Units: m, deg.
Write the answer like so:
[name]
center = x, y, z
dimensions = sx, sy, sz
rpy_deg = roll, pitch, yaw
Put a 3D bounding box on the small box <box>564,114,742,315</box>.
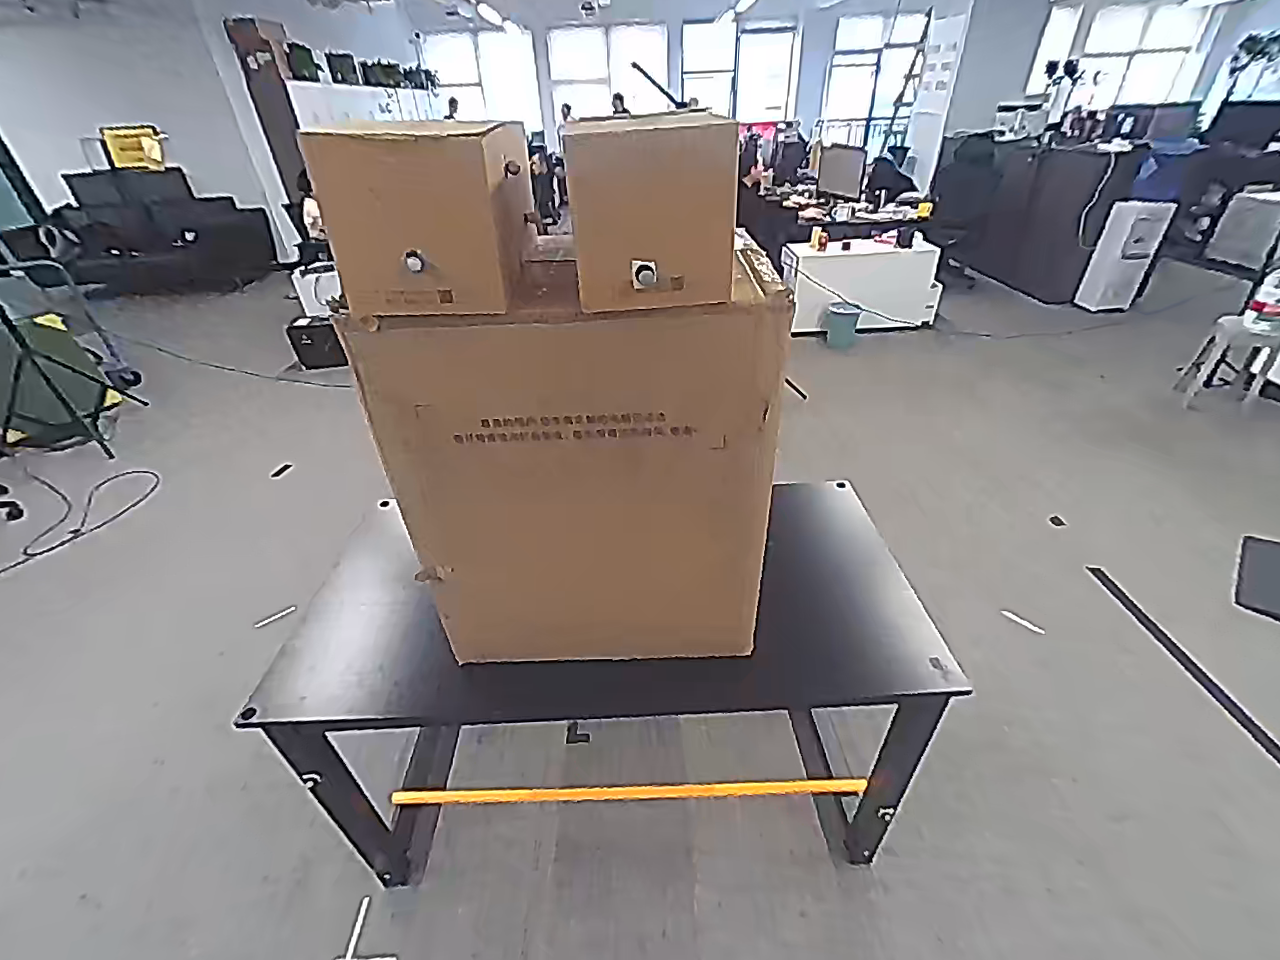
[small box]
center = 0.010, -0.297, 0.601
dimensions = 0.168, 0.176, 0.179
rpy_deg = -7, 37, -2
